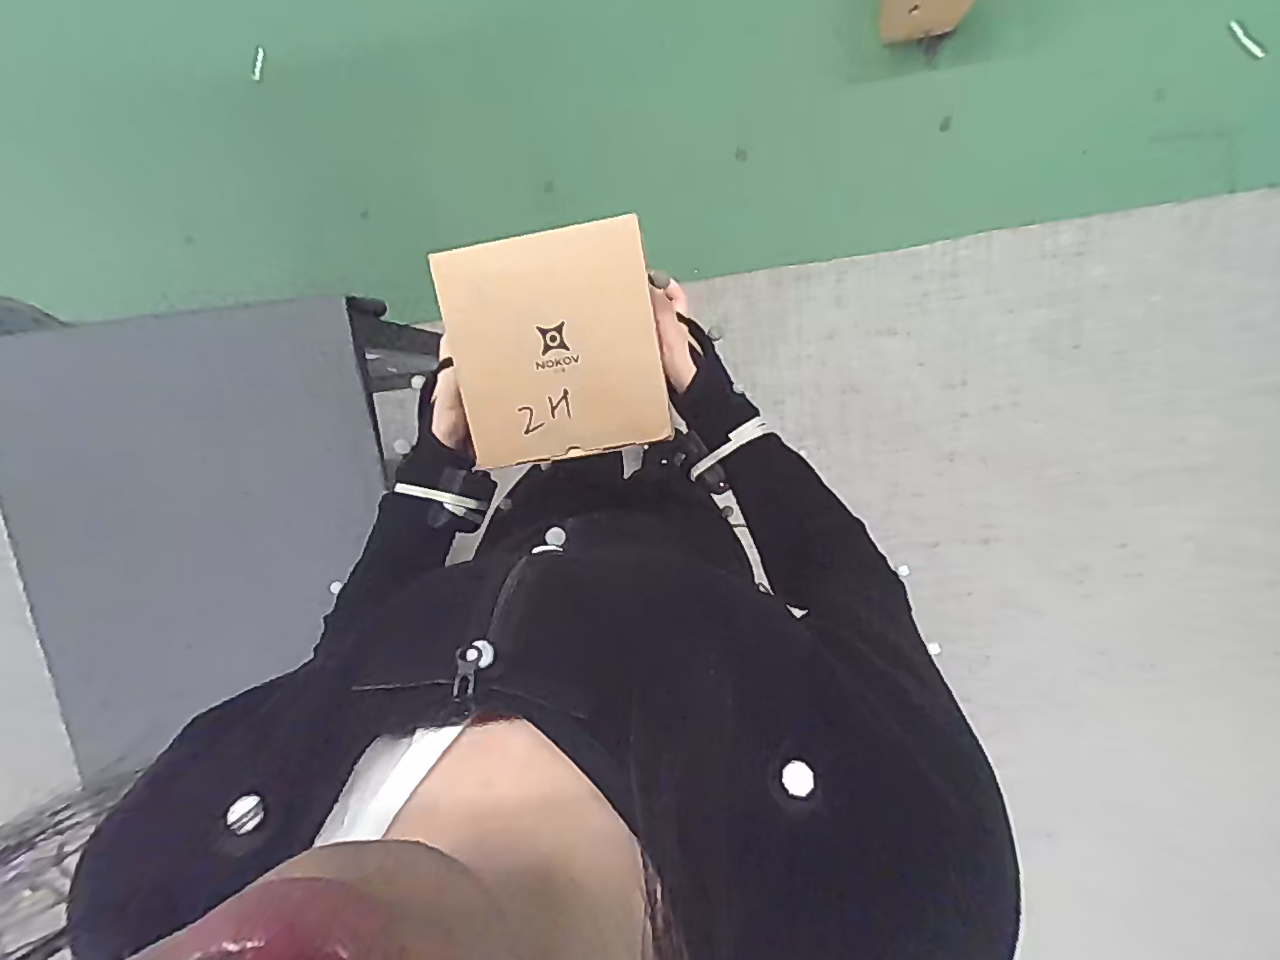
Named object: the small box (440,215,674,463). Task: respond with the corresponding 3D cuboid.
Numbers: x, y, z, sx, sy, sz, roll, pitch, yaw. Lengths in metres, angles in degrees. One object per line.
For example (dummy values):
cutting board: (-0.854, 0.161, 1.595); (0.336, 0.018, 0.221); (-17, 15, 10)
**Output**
small box: (-0.062, -0.125, 0.514); (0.168, 0.176, 0.179); (-9, 103, 6)
